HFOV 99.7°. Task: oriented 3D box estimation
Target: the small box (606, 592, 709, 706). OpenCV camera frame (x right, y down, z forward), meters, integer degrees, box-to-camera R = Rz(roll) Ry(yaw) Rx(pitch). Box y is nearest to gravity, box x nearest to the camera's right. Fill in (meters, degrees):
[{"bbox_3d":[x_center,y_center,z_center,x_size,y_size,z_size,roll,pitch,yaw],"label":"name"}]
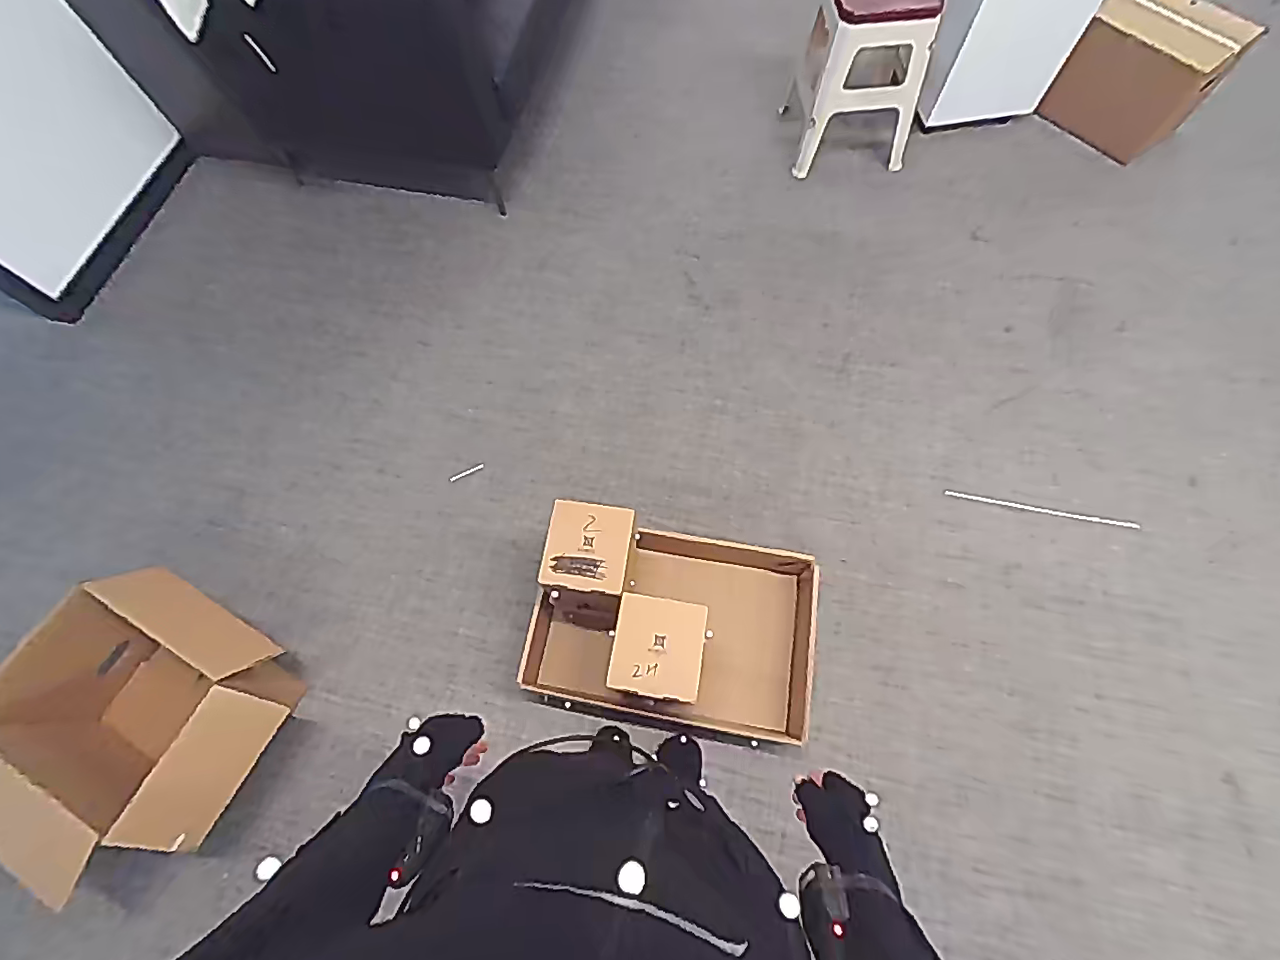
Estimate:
[{"bbox_3d":[0.034,0.334,1.056,0.168,0.176,0.179,9,68,5],"label":"small box"}]
